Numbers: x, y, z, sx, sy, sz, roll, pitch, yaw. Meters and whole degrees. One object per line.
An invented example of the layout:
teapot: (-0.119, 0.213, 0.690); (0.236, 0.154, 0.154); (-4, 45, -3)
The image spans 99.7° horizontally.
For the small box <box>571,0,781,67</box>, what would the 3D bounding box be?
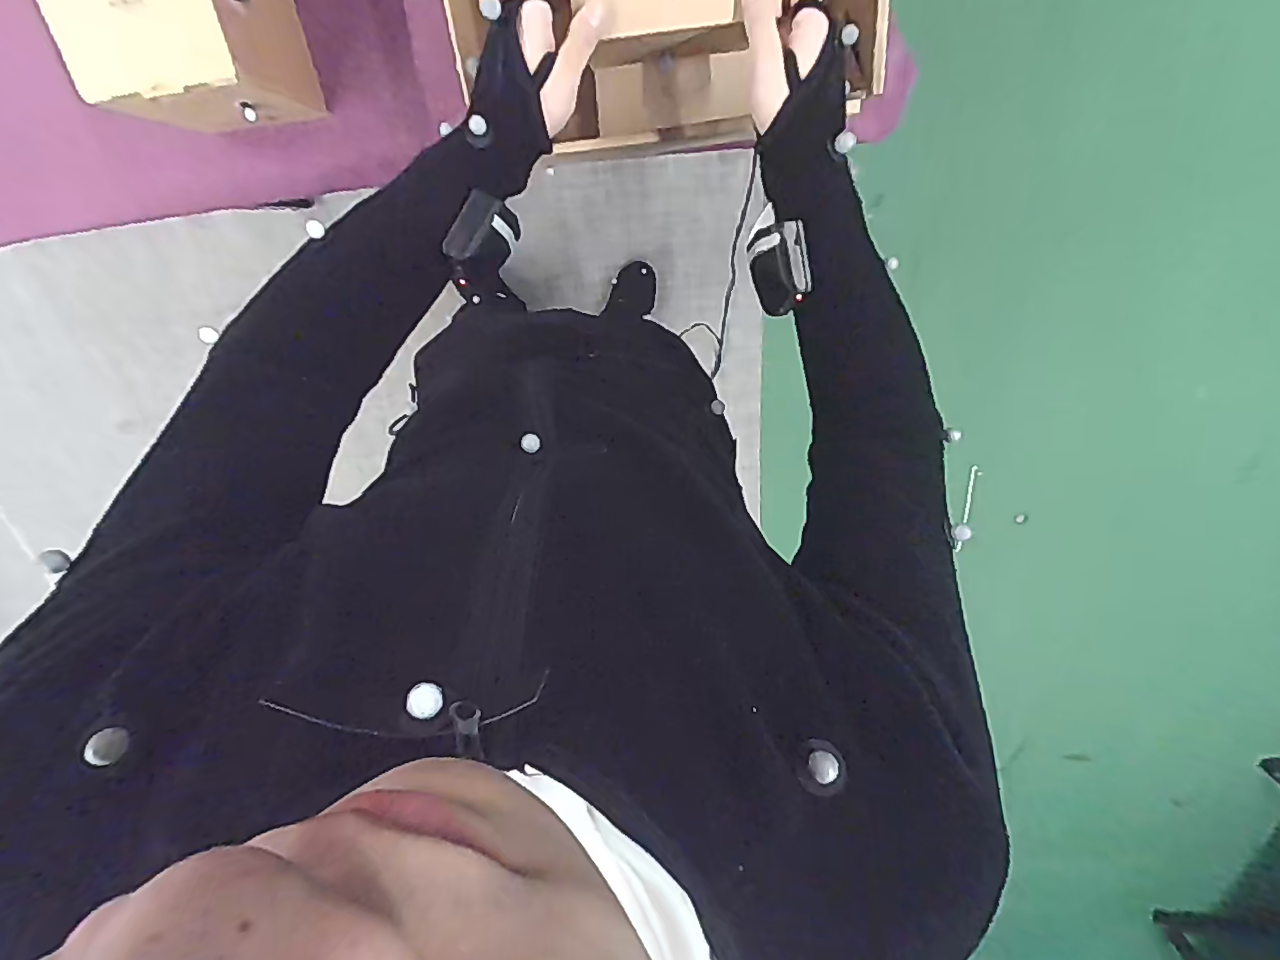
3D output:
small box: (0.021, -0.473, 0.452); (0.168, 0.176, 0.179); (-5, 121, 3)

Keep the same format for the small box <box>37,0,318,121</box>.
small box: (-0.483, -0.498, 0.572); (0.168, 0.176, 0.179); (-5, 114, 2)
